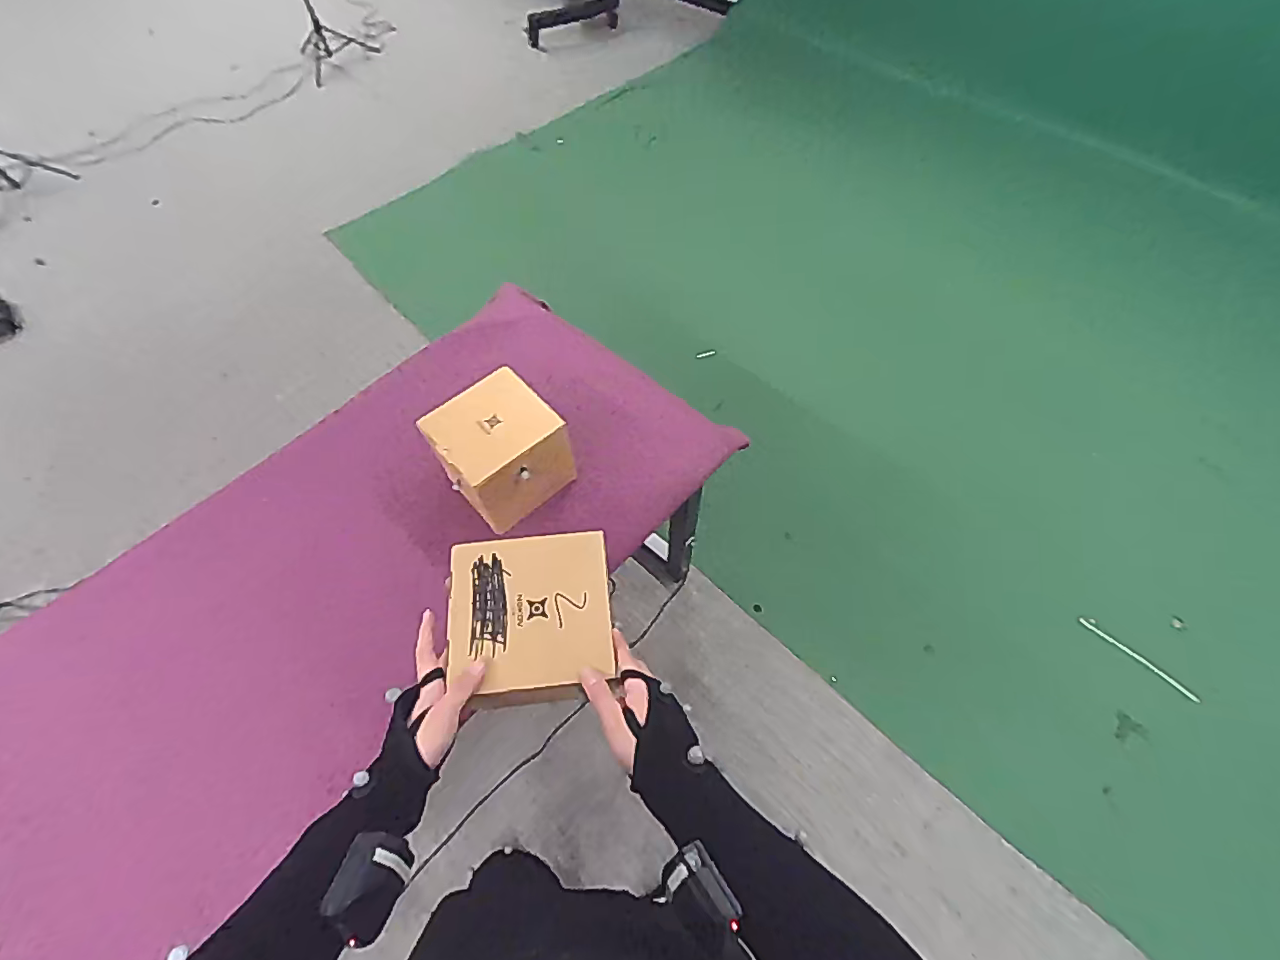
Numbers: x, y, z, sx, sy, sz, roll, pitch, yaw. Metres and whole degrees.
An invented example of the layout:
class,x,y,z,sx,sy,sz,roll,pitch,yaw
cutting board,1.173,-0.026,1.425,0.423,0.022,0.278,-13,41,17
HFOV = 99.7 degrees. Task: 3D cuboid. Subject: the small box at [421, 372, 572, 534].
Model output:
class,x,y,z,sx,sy,sz,roll,pitch,yaw
small box,-0.230,-0.042,0.917,0.179,0.176,0.168,-38,67,-19
